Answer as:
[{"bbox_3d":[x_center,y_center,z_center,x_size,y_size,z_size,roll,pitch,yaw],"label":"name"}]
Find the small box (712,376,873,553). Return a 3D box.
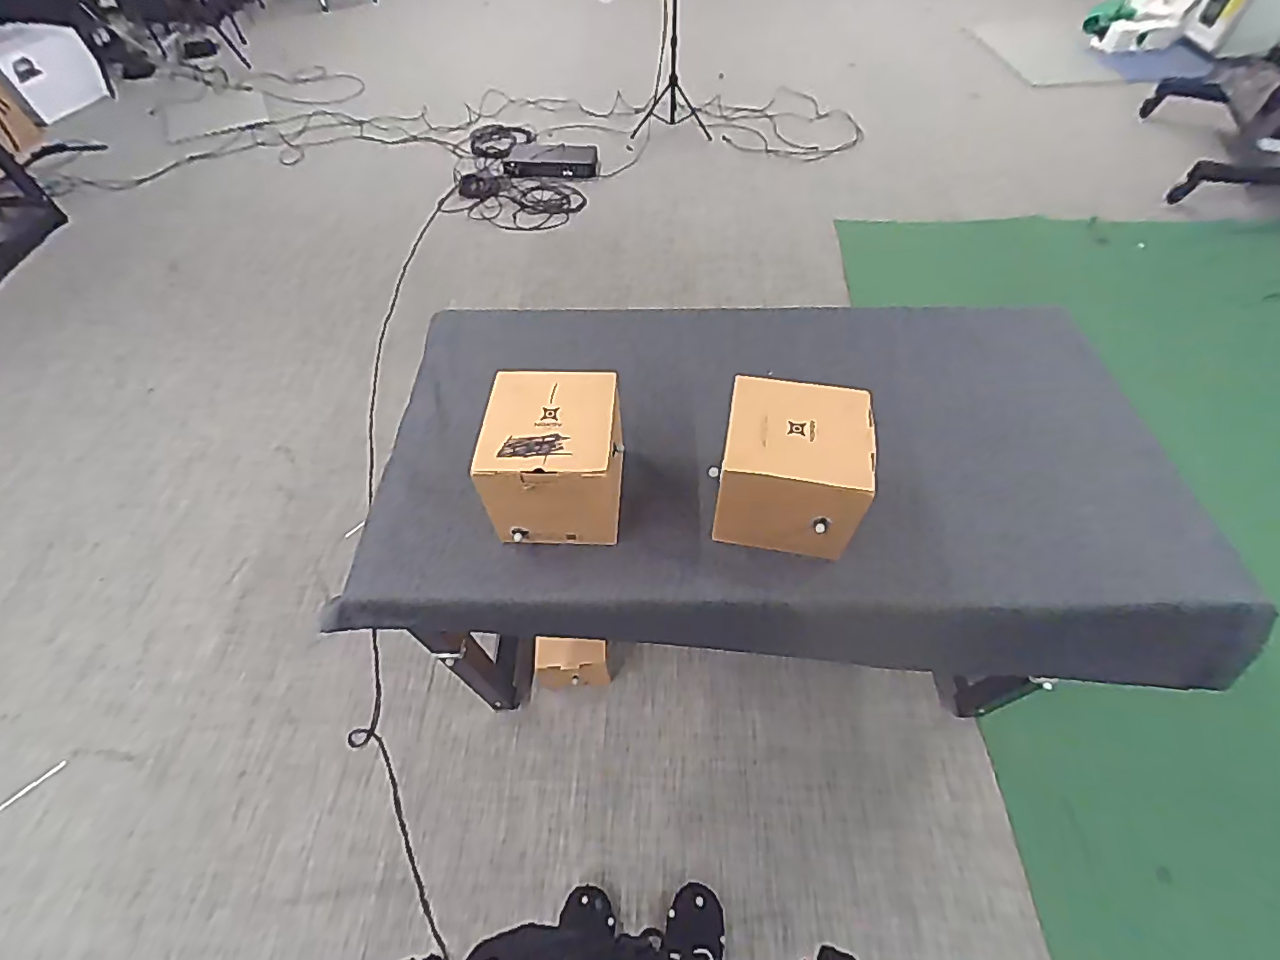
[{"bbox_3d":[0.200,-0.016,0.738,0.179,0.176,0.168,8,55,8],"label":"small box"}]

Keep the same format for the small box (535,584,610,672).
[{"bbox_3d":[-0.163,0.378,1.359,0.168,0.176,0.179,-3,56,-1],"label":"small box"}]

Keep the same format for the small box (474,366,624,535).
[{"bbox_3d":[-0.112,-0.036,0.754,0.168,0.176,0.179,2,54,2],"label":"small box"}]
